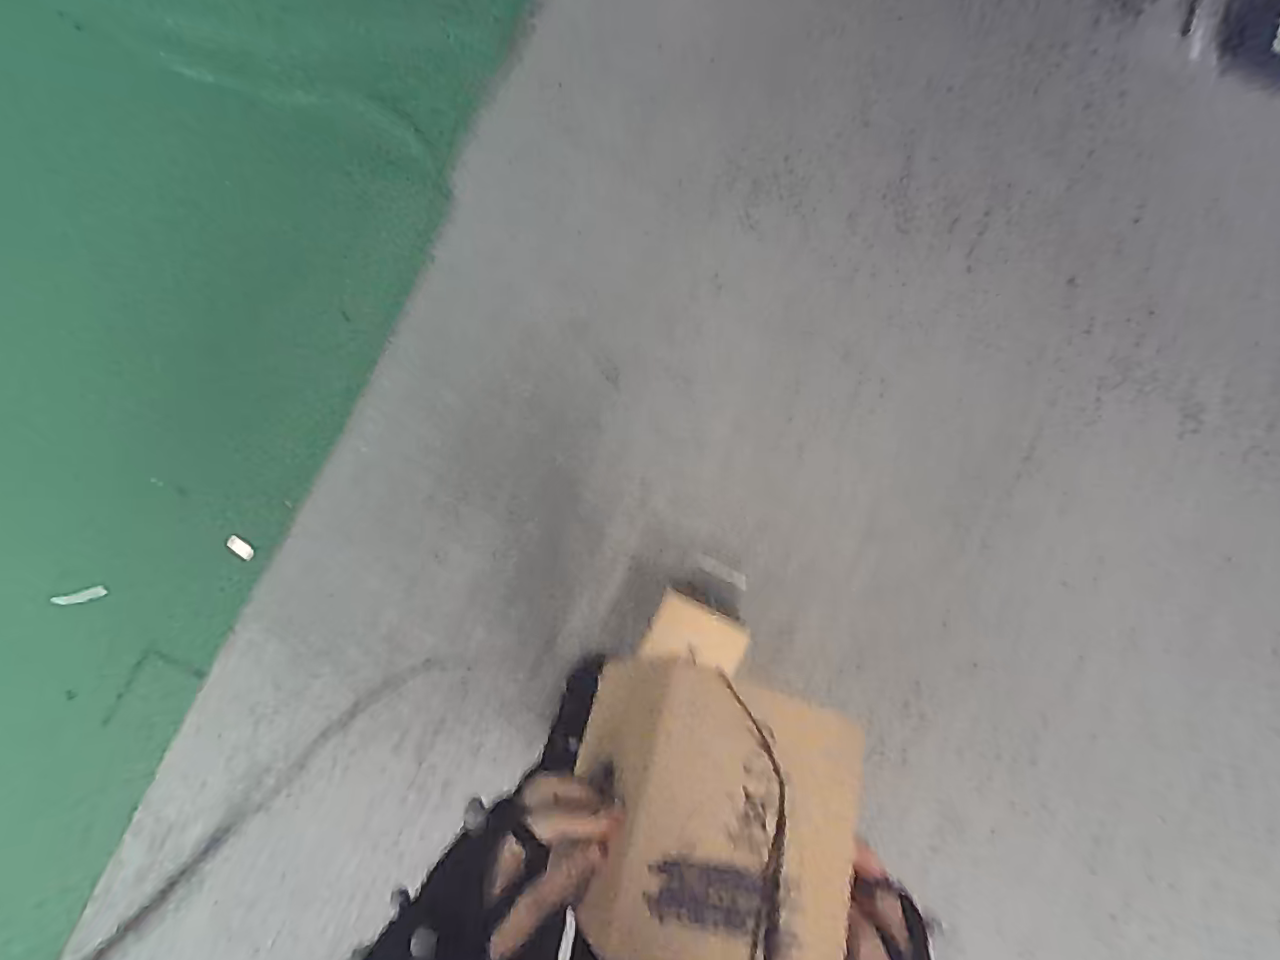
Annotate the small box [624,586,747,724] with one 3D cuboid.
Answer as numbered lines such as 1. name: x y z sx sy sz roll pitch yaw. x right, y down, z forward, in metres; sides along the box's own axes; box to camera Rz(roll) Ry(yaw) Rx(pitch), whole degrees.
1. small box: 0.082 0.322 1.040 0.168 0.176 0.179 28 88 4
